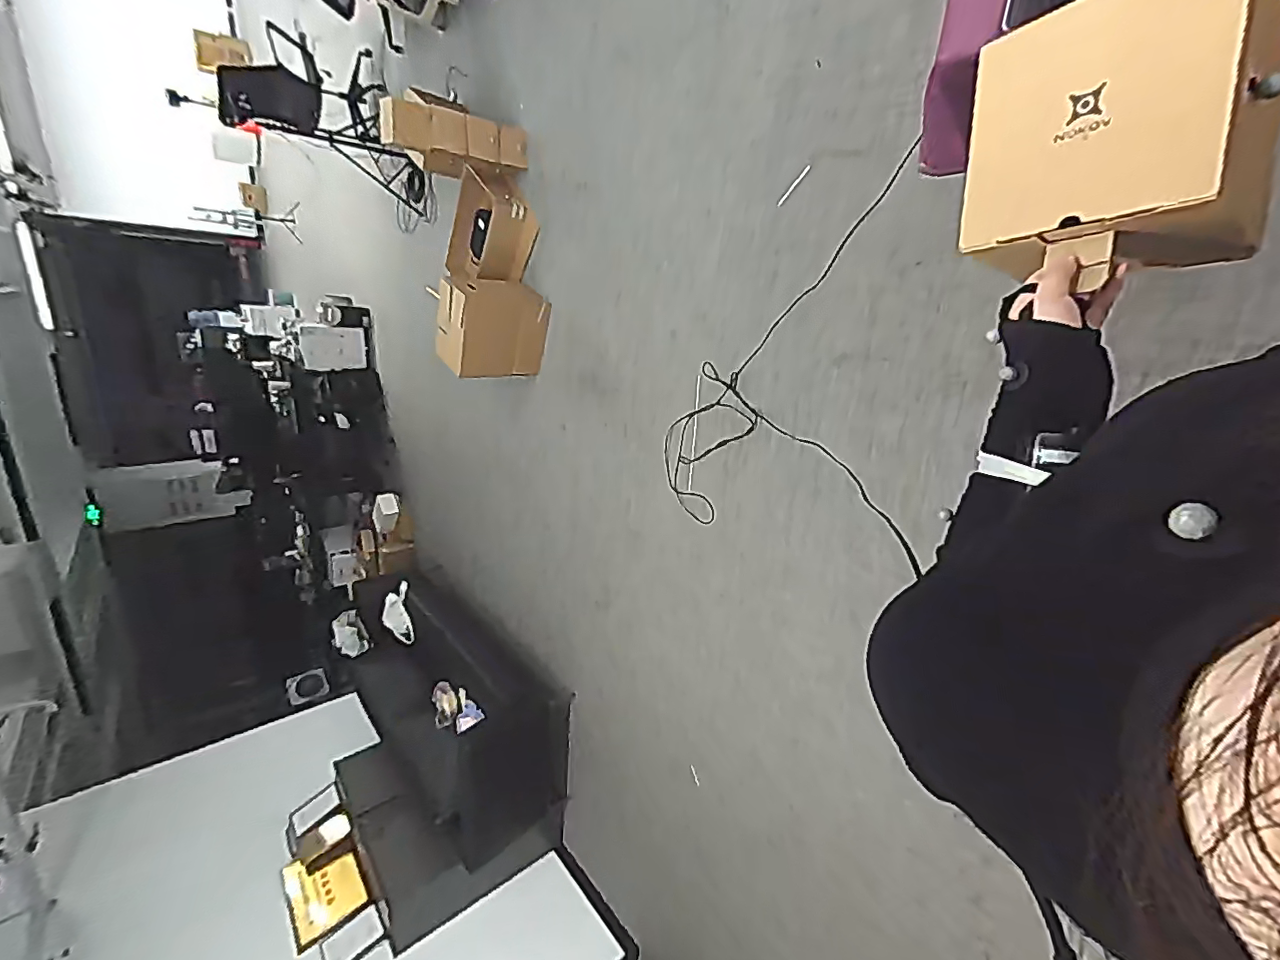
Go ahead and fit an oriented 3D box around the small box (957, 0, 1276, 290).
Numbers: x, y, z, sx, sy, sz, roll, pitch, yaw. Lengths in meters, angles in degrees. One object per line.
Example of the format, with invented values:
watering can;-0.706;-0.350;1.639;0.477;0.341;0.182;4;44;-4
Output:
small box;0.406;-0.279;0.466;0.168;0.176;0.179;12;100;53
